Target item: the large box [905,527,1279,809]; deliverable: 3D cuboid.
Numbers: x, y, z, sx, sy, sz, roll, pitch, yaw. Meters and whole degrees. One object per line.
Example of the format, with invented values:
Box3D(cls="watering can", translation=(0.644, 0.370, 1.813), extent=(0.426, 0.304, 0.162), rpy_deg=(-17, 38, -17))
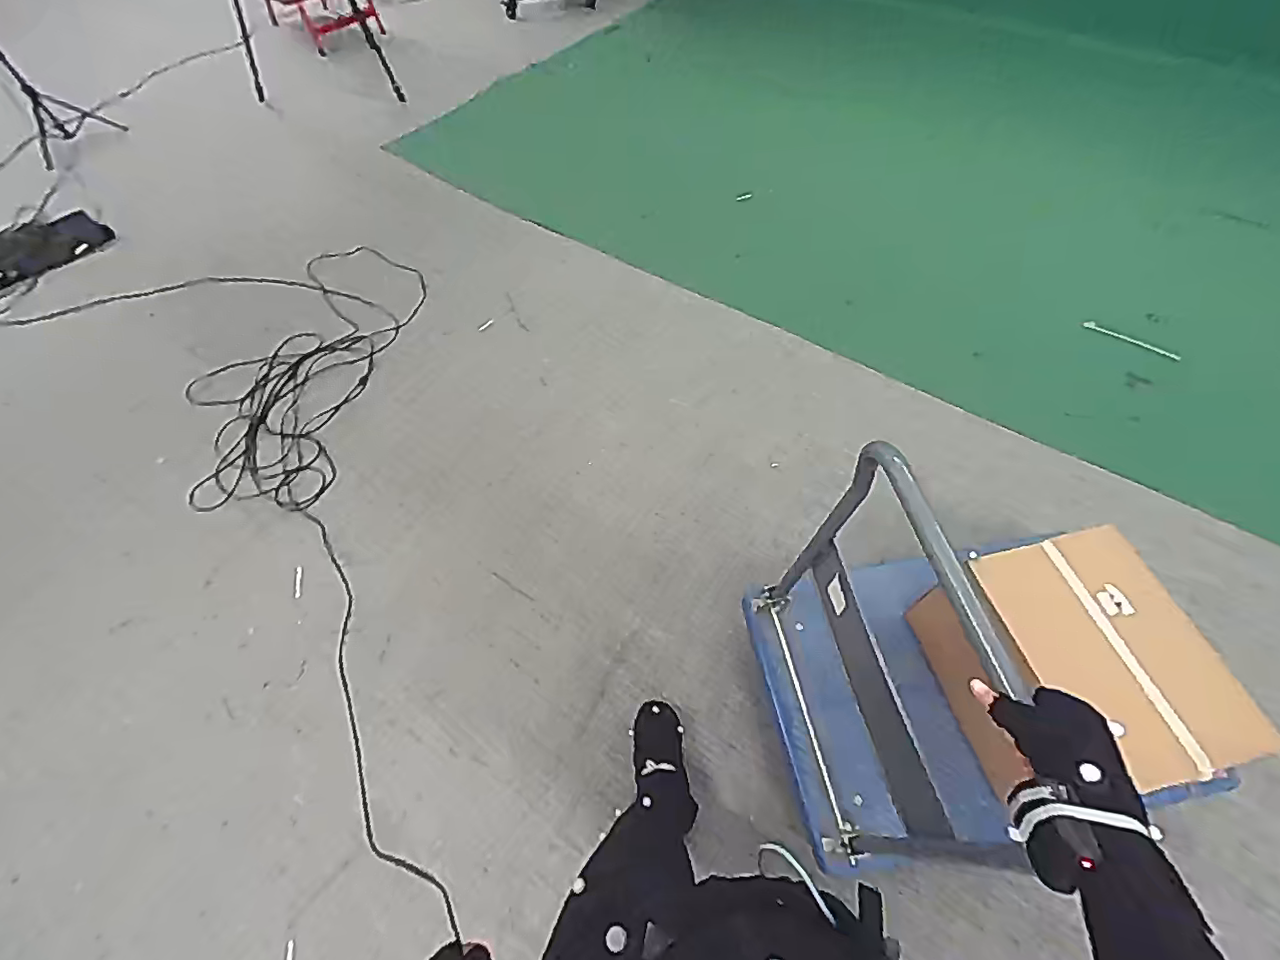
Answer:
Box3D(cls="large box", translation=(0.800, 0.364, 1.045), extent=(0.320, 0.320, 0.408), rpy_deg=(-12, 57, -7))
